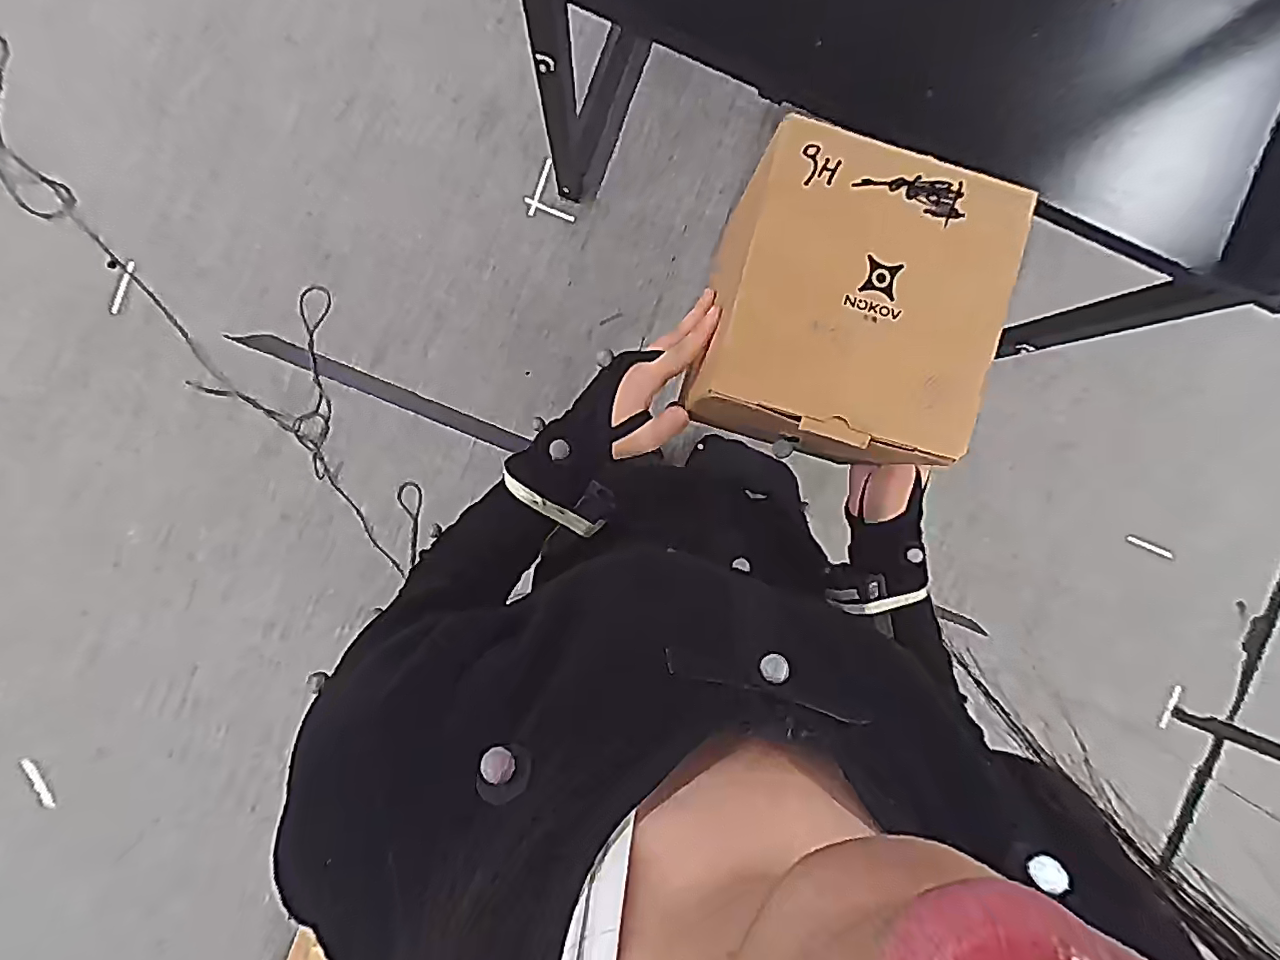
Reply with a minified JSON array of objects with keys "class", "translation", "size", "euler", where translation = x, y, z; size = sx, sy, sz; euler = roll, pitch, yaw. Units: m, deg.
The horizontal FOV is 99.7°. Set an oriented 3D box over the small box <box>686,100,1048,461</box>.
[{"class":"small box","translation":[0.138,-0.120,0.400],"size":[0.168,0.176,0.179],"euler":[15,92,-5]}]
